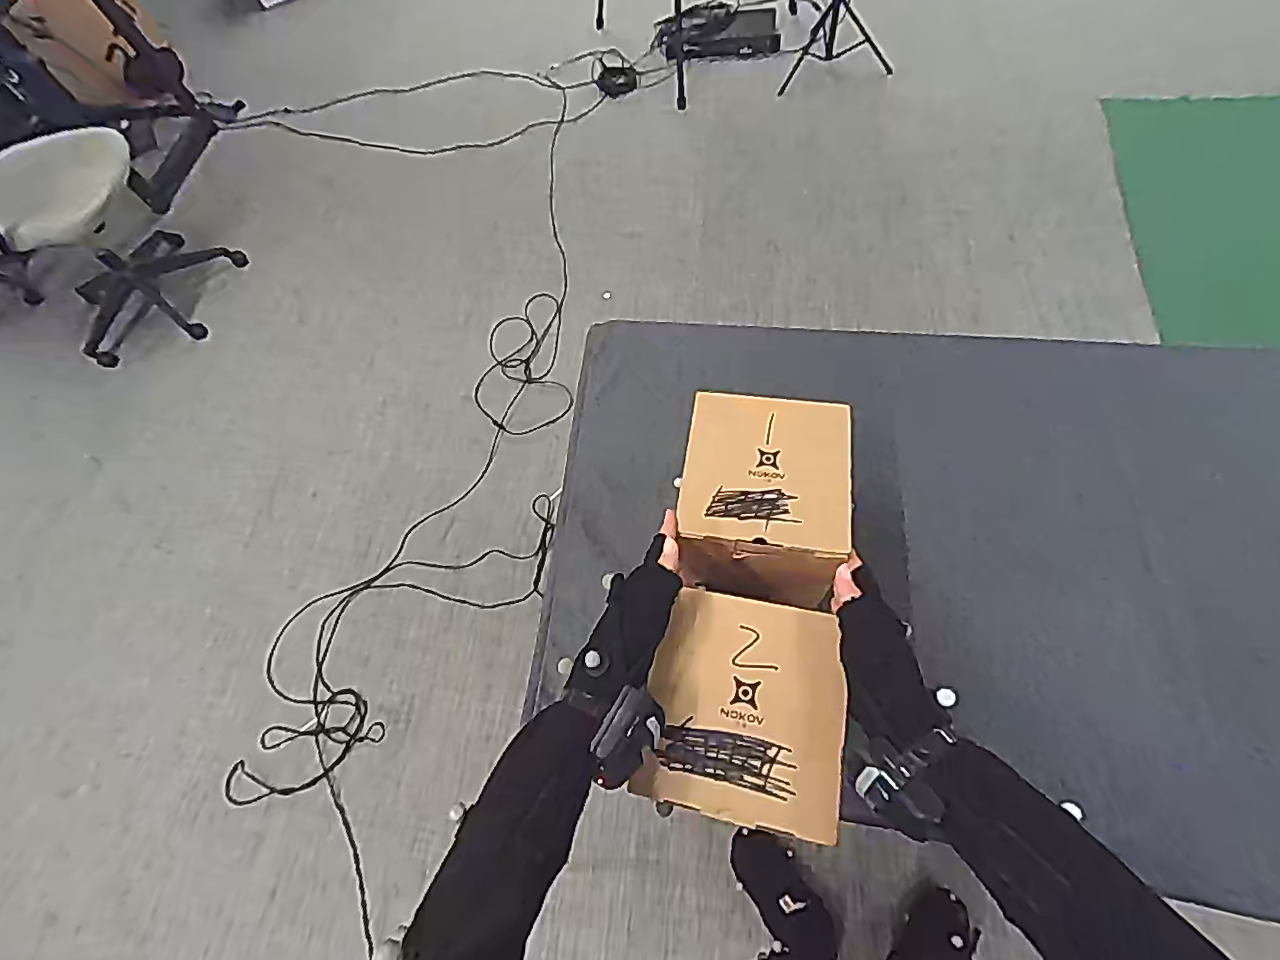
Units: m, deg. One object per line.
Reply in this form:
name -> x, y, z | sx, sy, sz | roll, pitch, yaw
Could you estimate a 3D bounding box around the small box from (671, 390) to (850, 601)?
small box -> 0.132, 0.024, 0.614 | 0.168, 0.176, 0.179 | 7, 61, 9
